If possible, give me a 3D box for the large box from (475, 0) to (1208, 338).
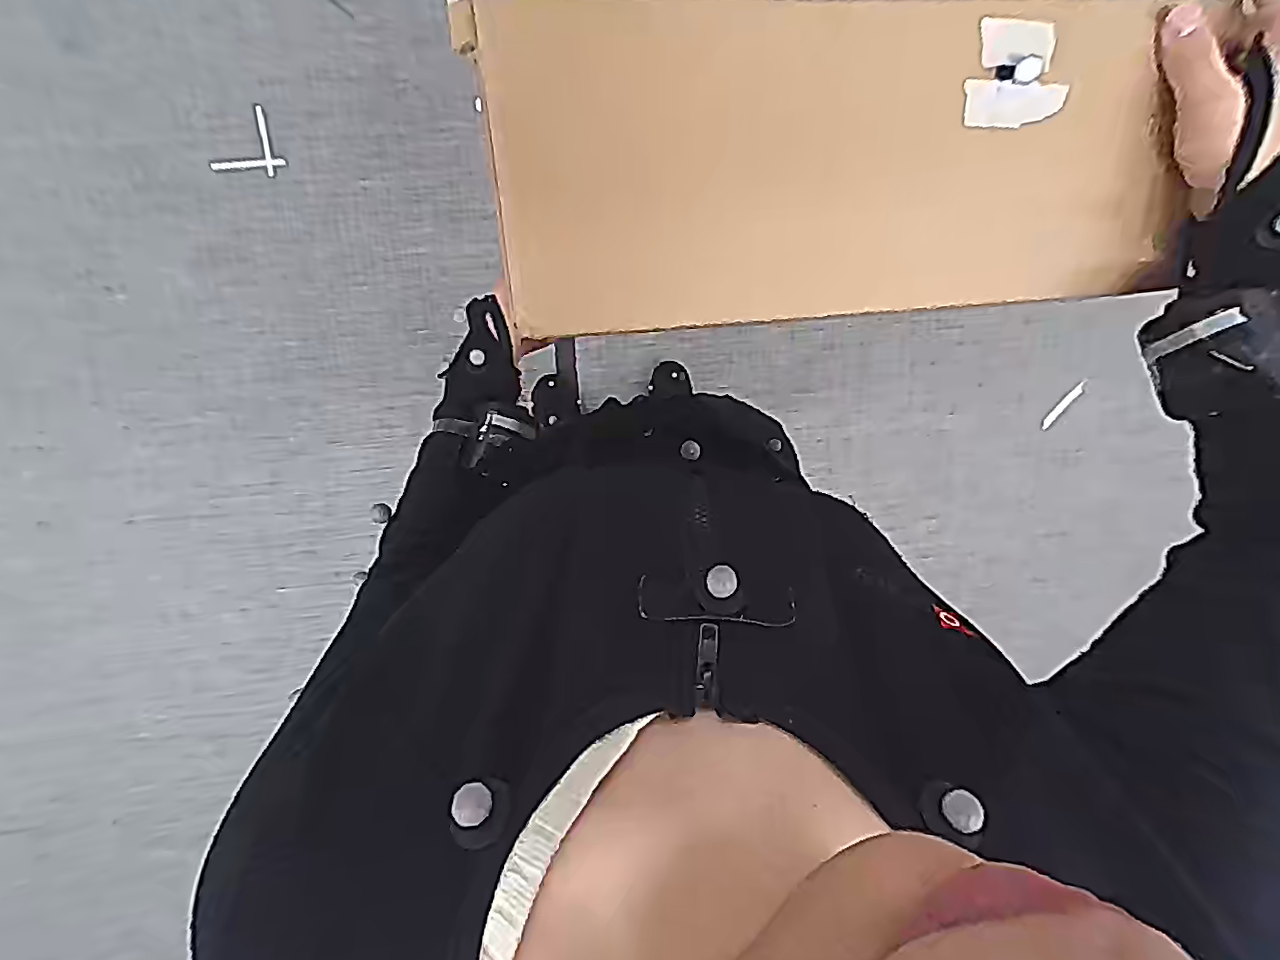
[{"bbox_3d":[0.093,-0.286,0.414,0.408,0.320,0.320,-7,107,-10],"label":"large box"}]
